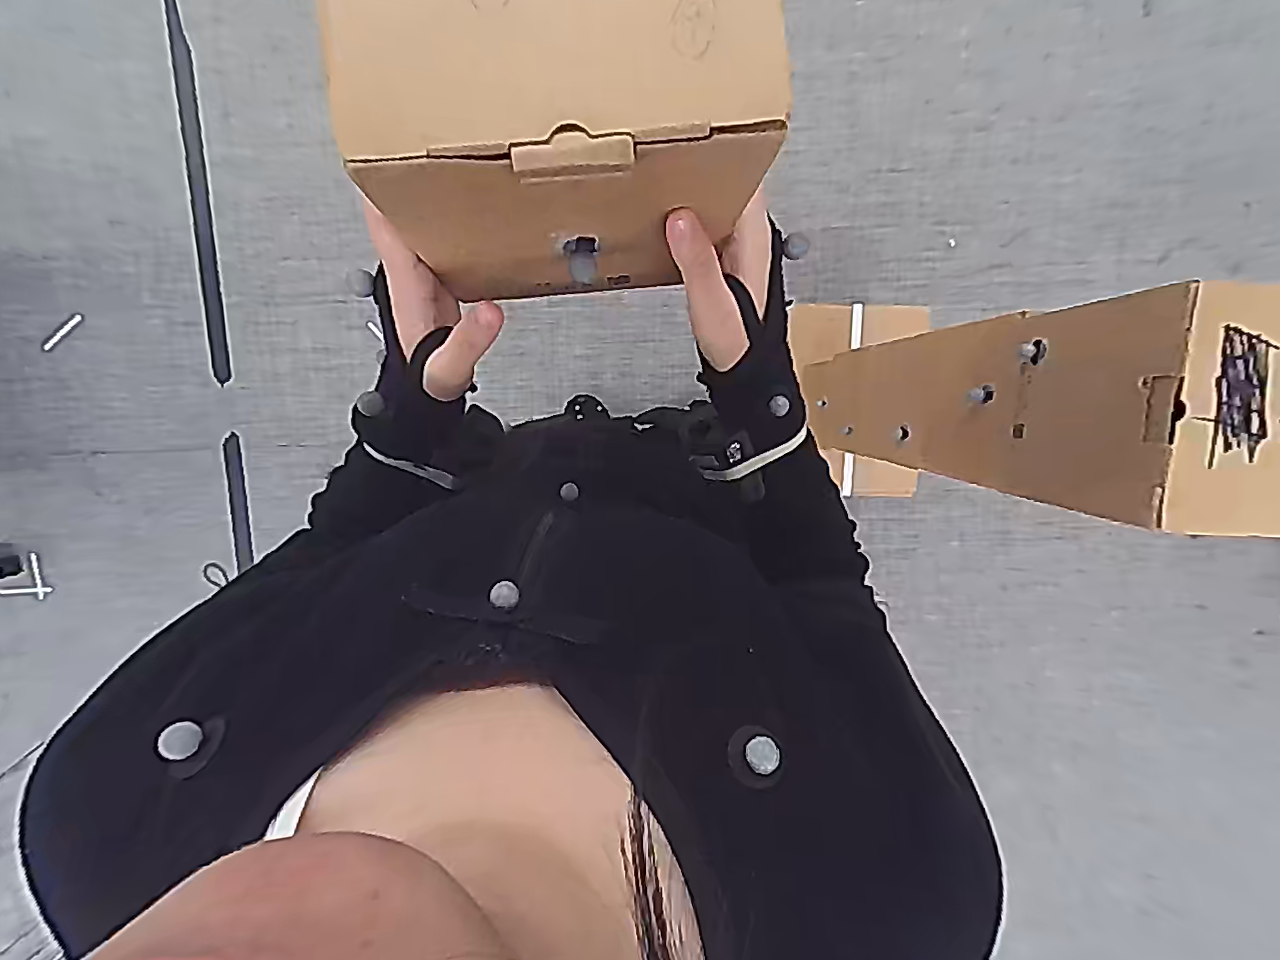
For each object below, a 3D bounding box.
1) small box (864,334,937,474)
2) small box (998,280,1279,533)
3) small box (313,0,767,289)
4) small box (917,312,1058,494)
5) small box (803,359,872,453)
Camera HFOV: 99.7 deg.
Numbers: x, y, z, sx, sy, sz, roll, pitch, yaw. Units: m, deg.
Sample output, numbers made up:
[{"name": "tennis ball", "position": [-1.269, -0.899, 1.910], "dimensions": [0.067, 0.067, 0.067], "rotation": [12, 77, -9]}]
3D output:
[{"name": "small box", "position": [0.431, -0.104, 0.759], "dimensions": [0.168, 0.176, 0.179], "rotation": [2, 98, 0]}, {"name": "small box", "position": [0.430, -0.055, 0.436], "dimensions": [0.179, 0.176, 0.168], "rotation": [2, 98, 0]}, {"name": "small box", "position": [-0.043, -0.208, 0.278], "dimensions": [0.168, 0.176, 0.179], "rotation": [-7, 92, -3]}, {"name": "small box", "position": [0.431, -0.081, 0.599], "dimensions": [0.168, 0.176, 0.179], "rotation": [2, 98, 1]}, {"name": "small box", "position": [0.432, -0.149, 1.084], "dimensions": [0.168, 0.176, 0.179], "rotation": [-2, 99, 2]}]
